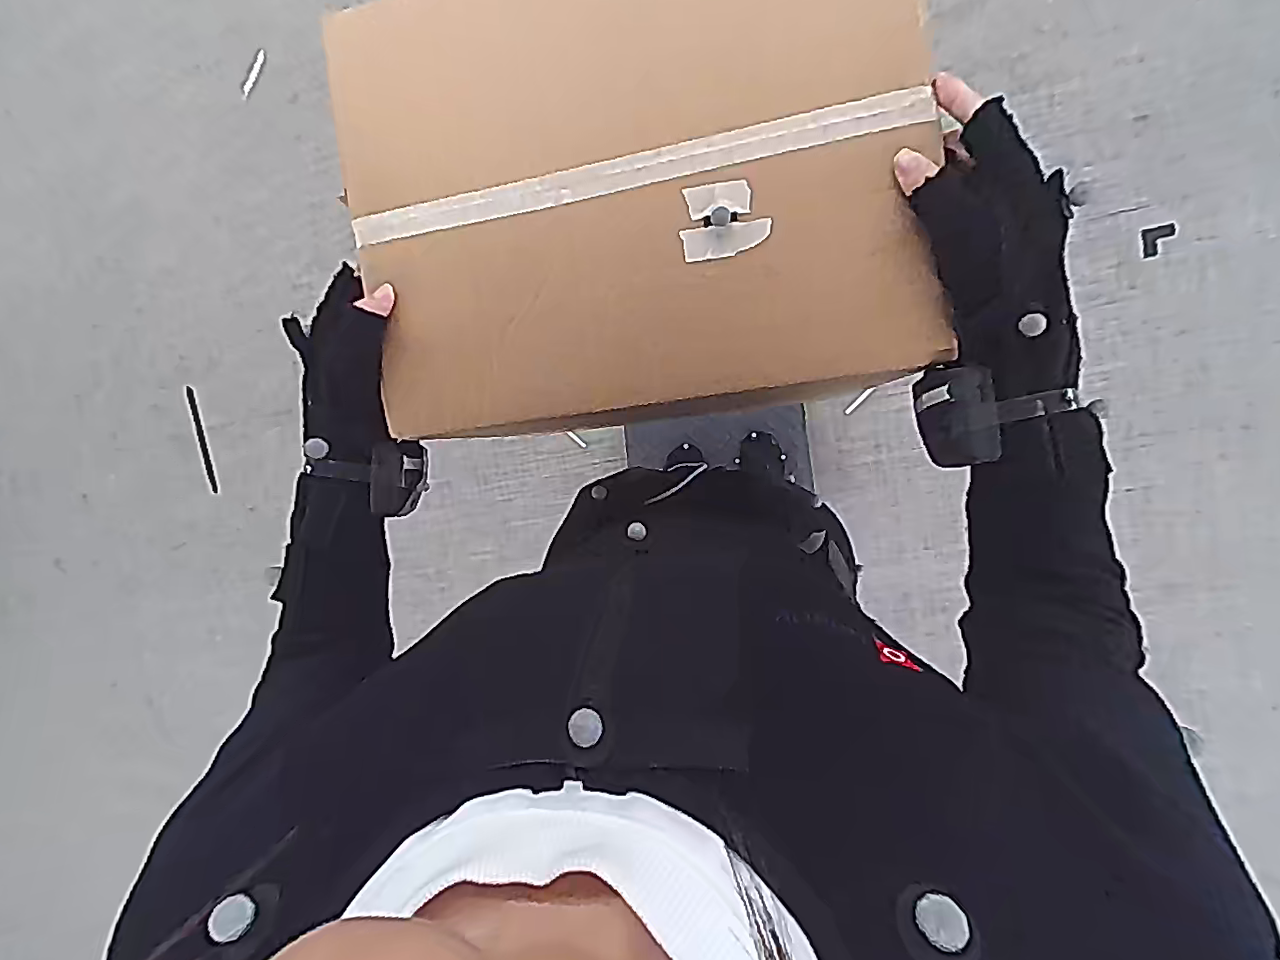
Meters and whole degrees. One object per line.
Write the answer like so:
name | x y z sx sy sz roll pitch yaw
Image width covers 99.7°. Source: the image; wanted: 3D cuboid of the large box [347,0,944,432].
large box | 0.012 -0.227 0.531 0.408 0.320 0.320 -7 94 10
